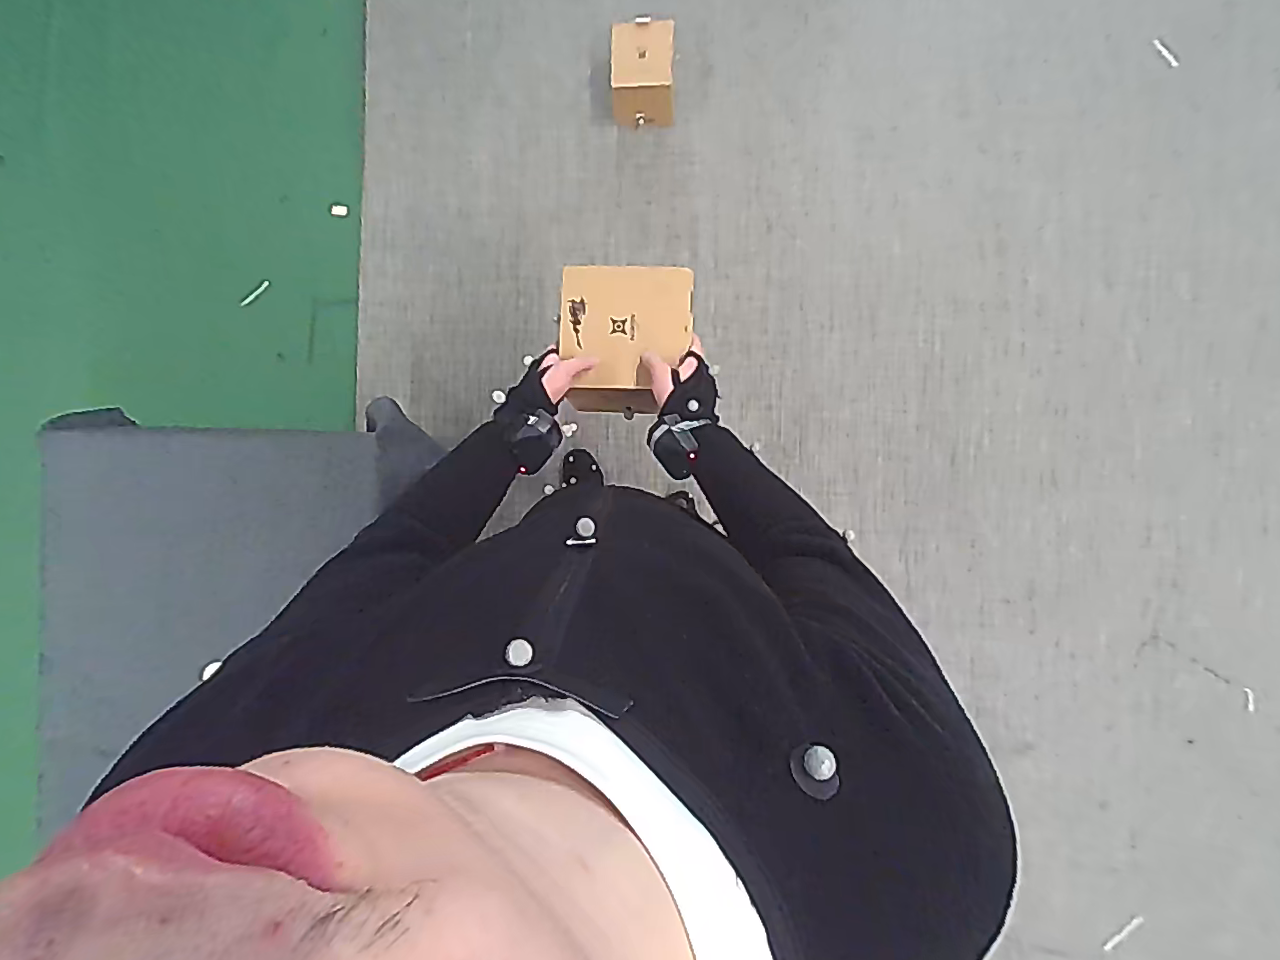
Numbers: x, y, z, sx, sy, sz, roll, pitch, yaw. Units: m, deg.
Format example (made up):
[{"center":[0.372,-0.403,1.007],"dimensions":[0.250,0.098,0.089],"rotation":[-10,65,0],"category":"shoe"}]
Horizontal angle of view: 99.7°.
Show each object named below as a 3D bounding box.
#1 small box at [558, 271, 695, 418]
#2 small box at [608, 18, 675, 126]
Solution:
[{"center":[-0.017,-0.189,0.794],"dimensions":[0.179,0.176,0.168],"rotation":[2,86,1],"category":"small box"},{"center":[0.009,-1.120,1.493],"dimensions":[0.168,0.176,0.179],"rotation":[3,90,7],"category":"small box"}]
